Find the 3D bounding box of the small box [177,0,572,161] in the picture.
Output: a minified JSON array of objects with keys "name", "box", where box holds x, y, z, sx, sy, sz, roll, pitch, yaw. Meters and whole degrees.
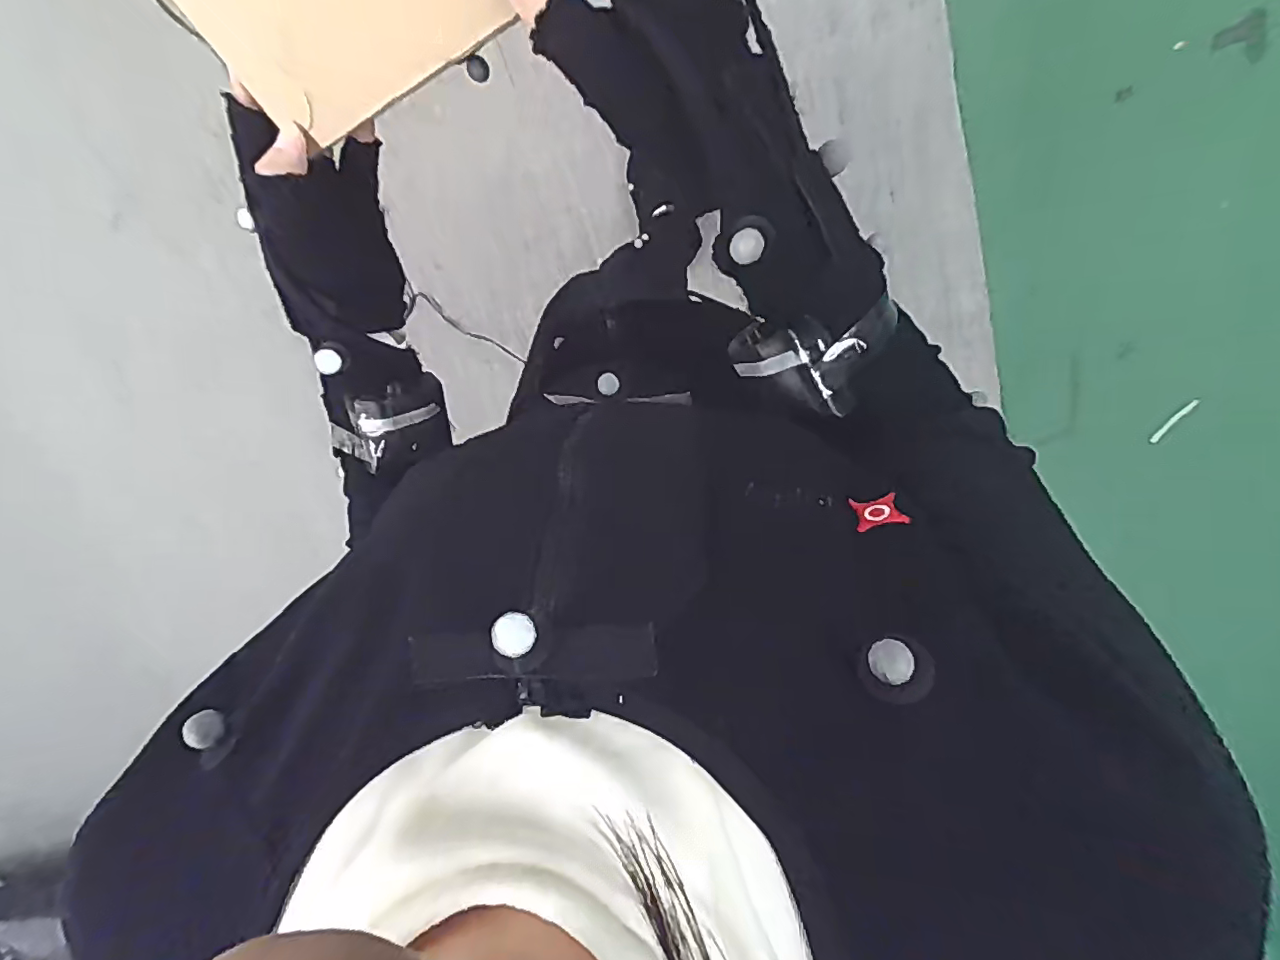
[{"name":"small box","box":[-0.120,-0.295,0.248,0.179,0.176,0.168,-10,137,26]}]
